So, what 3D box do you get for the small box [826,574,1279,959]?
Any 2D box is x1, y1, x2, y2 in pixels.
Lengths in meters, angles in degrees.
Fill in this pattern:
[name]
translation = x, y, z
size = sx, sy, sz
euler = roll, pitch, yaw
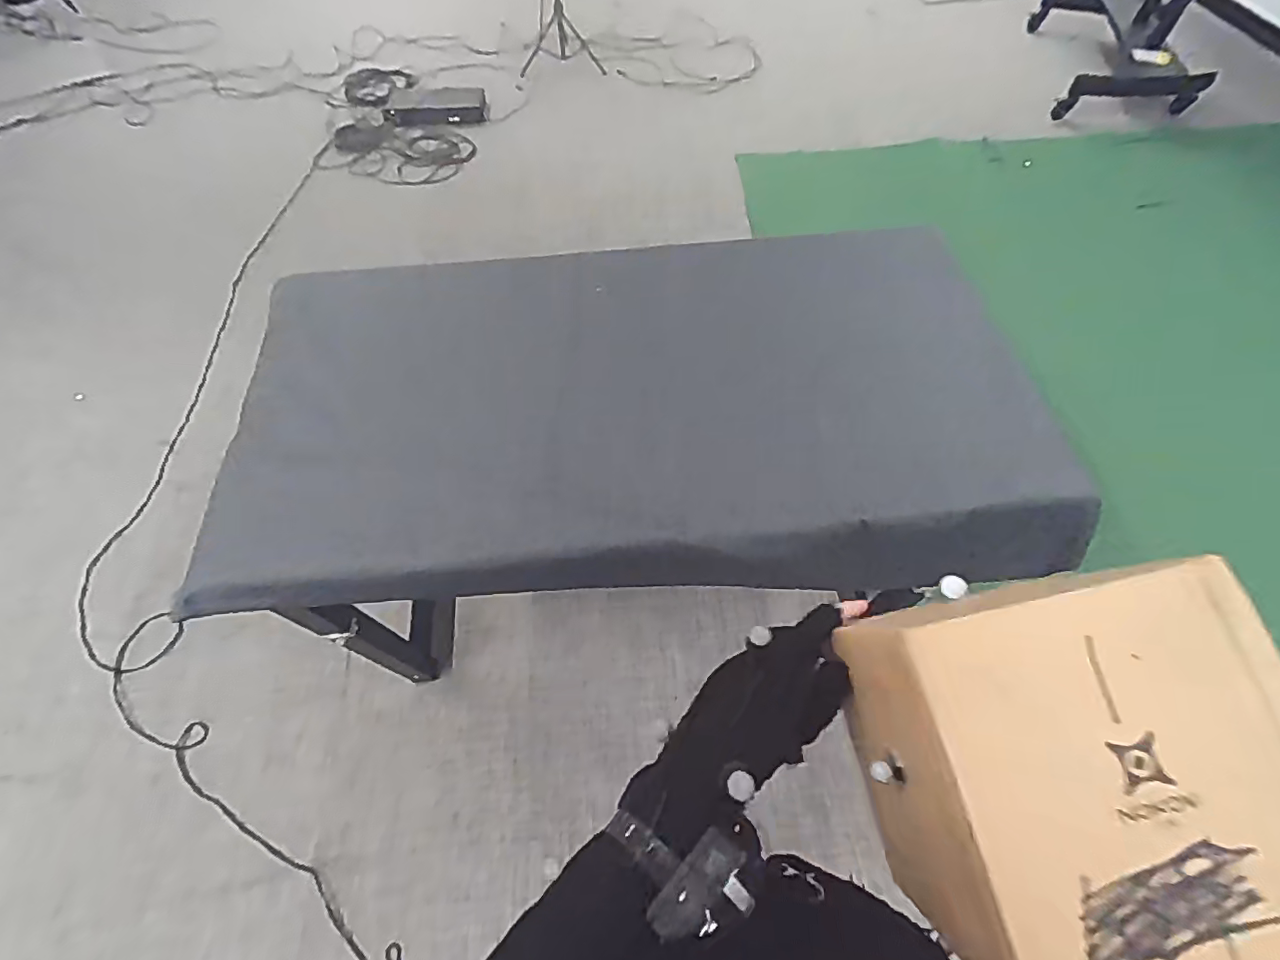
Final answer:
[small box]
translation = 0.234, 0.165, 0.330
size = 0.168, 0.176, 0.179
euler = -12, 73, 1
